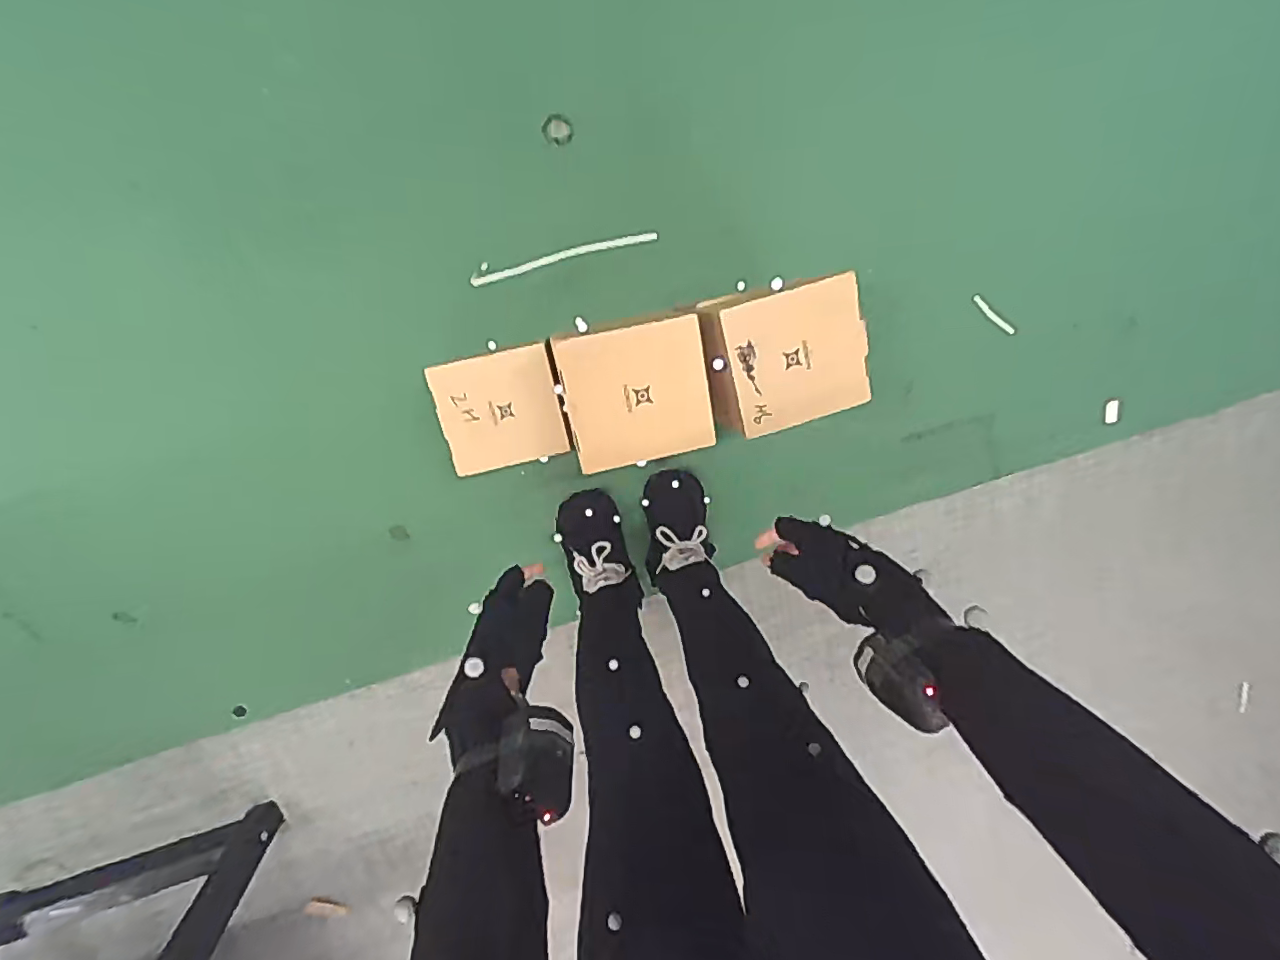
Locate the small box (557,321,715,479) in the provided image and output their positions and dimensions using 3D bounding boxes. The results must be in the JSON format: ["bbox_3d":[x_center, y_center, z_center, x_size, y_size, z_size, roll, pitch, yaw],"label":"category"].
[{"bbox_3d":[-0.012,-0.118,0.733,0.179,0.176,0.168,-12,109,-4],"label":"small box"}]

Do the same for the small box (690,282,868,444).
[{"bbox_3d":[0.183,-0.167,0.748,0.179,0.176,0.168,-17,108,-5],"label":"small box"}]
